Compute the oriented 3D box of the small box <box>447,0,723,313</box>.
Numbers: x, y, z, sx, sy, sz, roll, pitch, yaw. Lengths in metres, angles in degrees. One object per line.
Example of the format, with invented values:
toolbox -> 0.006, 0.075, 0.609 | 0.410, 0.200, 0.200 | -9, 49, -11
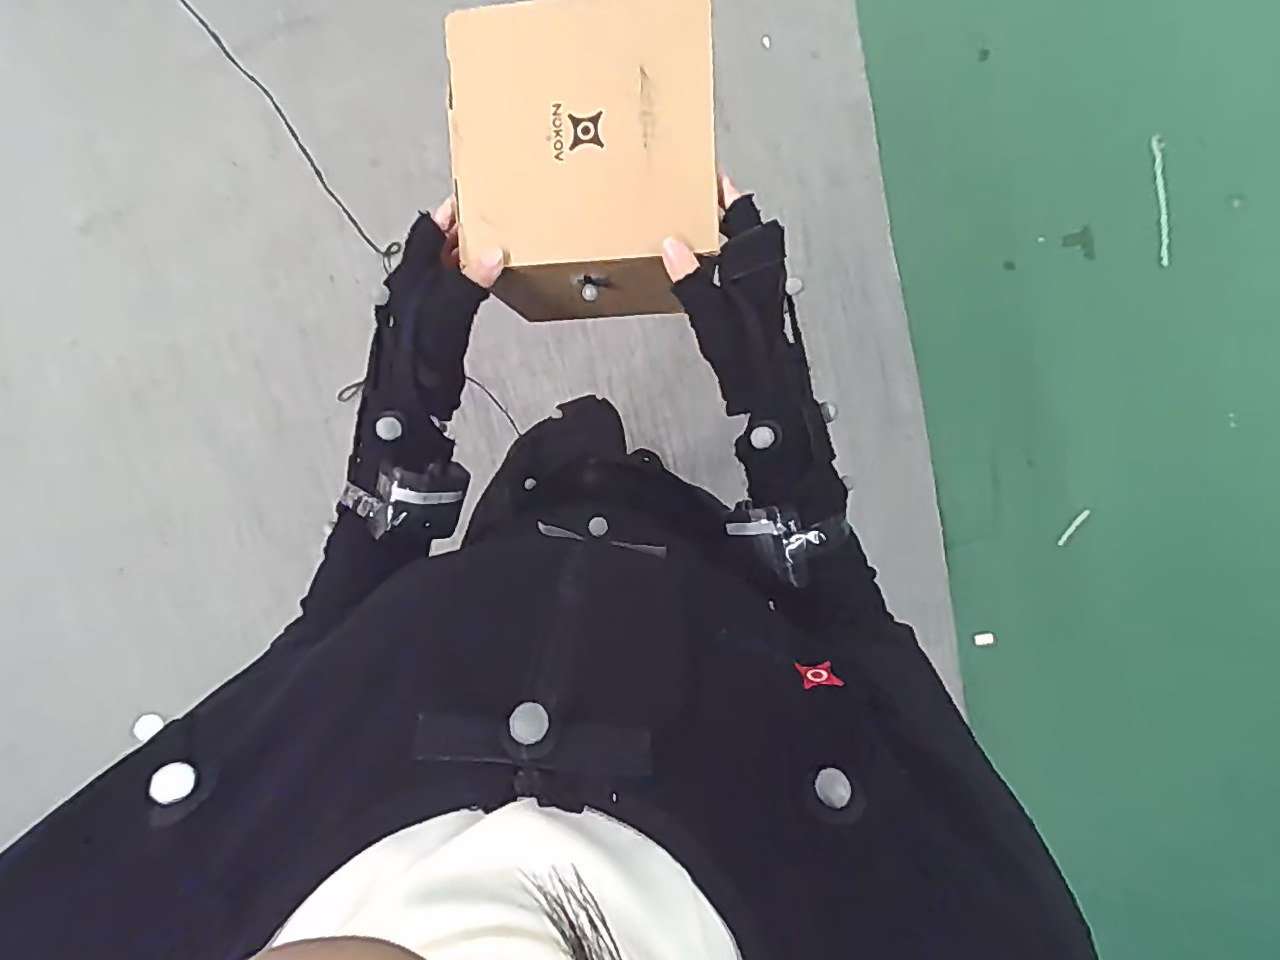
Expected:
small box -> -0.029, -0.237, 0.431 | 0.179, 0.176, 0.168 | -4, 95, 5
